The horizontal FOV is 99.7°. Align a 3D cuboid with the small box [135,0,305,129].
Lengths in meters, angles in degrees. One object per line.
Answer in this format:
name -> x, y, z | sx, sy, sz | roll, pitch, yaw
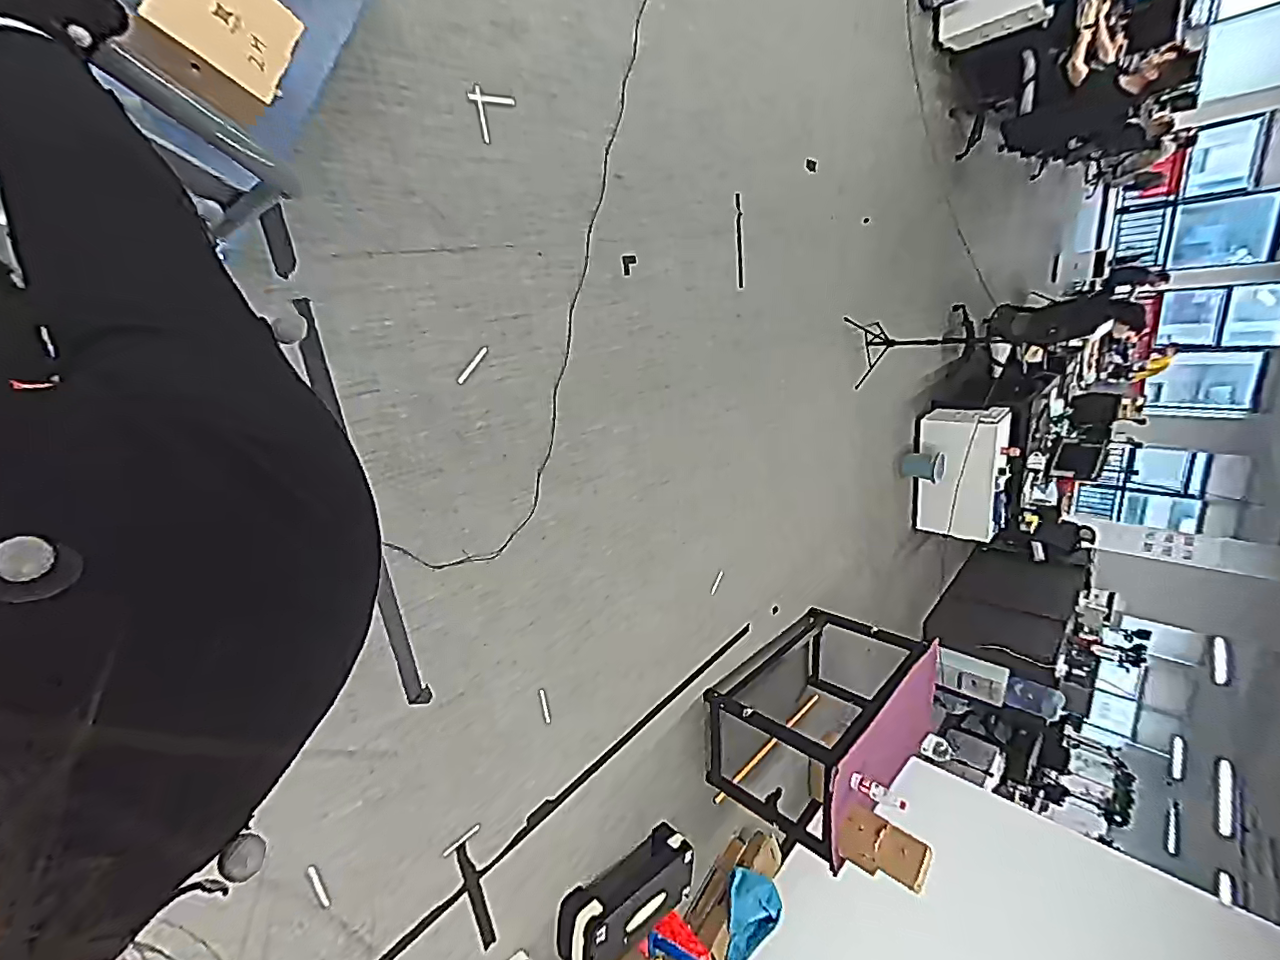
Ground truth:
small box -> -0.719, -0.747, 0.923 | 0.179, 0.176, 0.168 | 26, 80, -46
